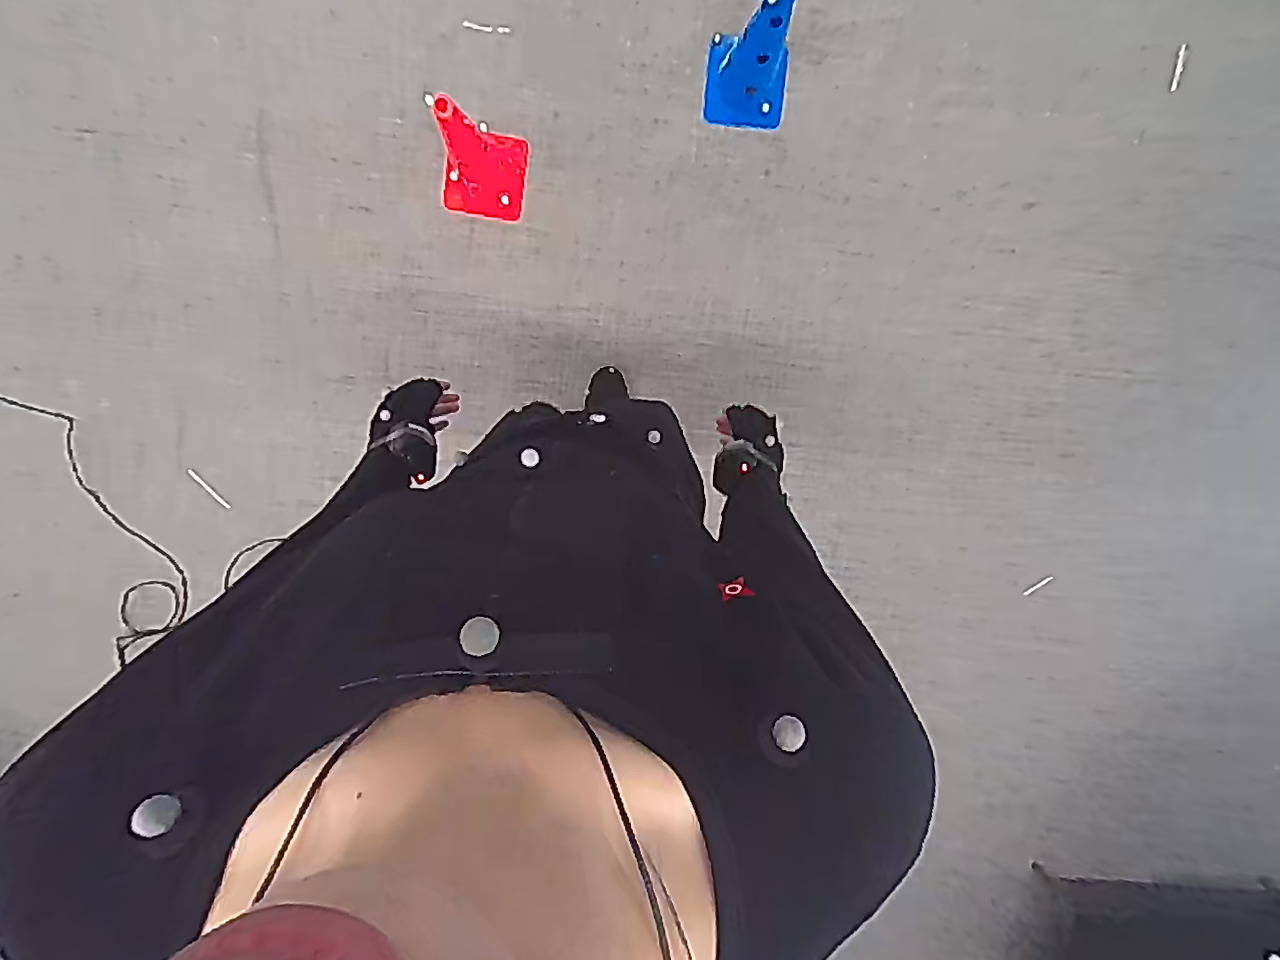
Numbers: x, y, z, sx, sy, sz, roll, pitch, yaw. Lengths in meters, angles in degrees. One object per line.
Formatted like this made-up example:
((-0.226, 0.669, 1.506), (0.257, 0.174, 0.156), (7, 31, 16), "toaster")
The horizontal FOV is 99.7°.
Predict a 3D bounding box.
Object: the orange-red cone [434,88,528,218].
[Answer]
((-0.379, -0.747, 1.183), (0.198, 0.360, 0.199), (9, 99, -5), "orange-red cone")
